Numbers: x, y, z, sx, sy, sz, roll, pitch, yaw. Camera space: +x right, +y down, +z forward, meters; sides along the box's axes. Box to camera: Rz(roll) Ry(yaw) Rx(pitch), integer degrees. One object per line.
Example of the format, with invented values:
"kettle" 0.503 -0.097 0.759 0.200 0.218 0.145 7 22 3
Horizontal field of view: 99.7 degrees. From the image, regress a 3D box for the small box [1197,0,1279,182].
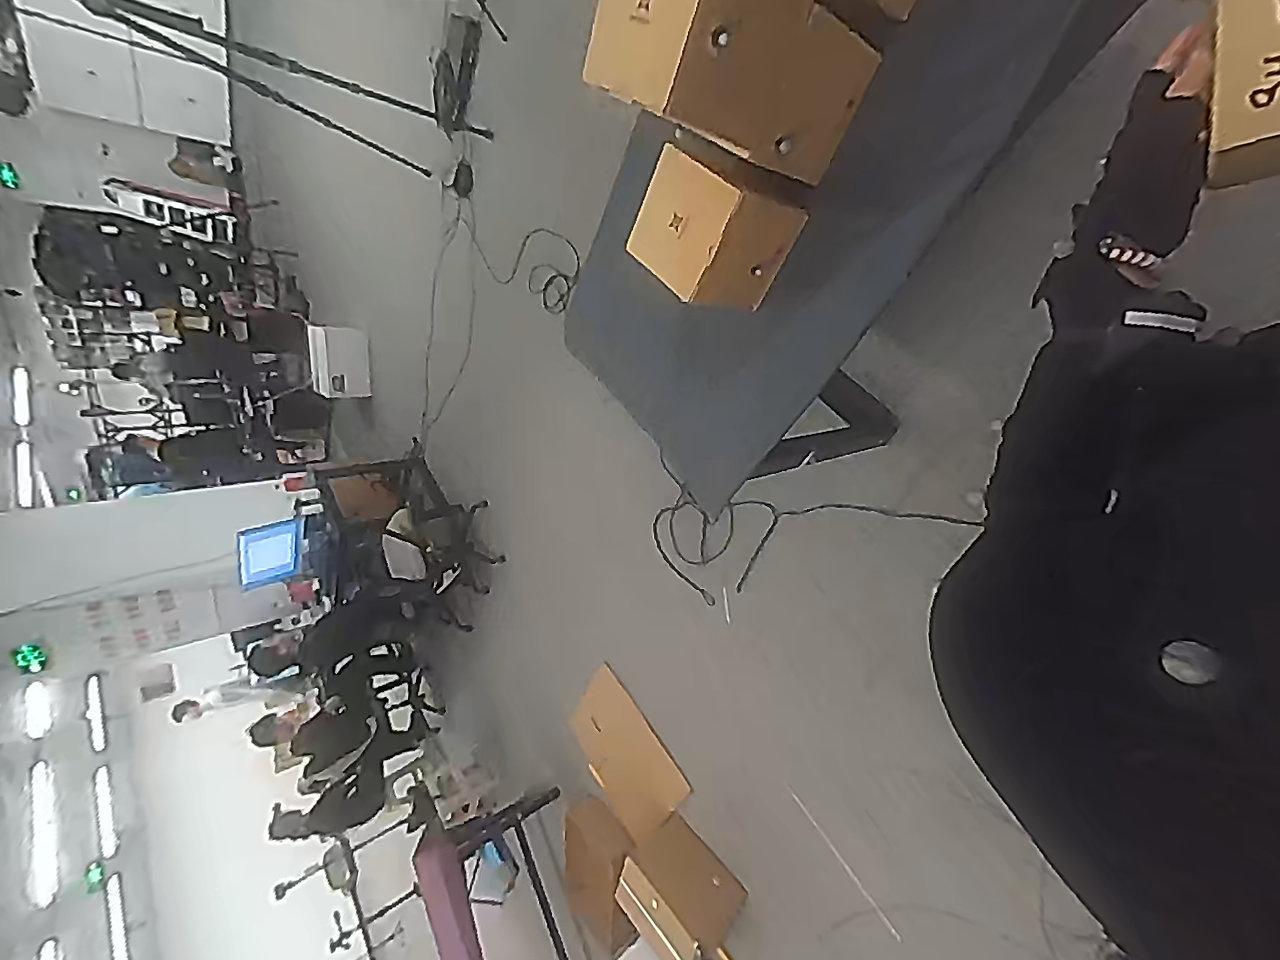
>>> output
"small box" 0.444 -0.291 0.301 0.179 0.176 0.168 3 104 45
